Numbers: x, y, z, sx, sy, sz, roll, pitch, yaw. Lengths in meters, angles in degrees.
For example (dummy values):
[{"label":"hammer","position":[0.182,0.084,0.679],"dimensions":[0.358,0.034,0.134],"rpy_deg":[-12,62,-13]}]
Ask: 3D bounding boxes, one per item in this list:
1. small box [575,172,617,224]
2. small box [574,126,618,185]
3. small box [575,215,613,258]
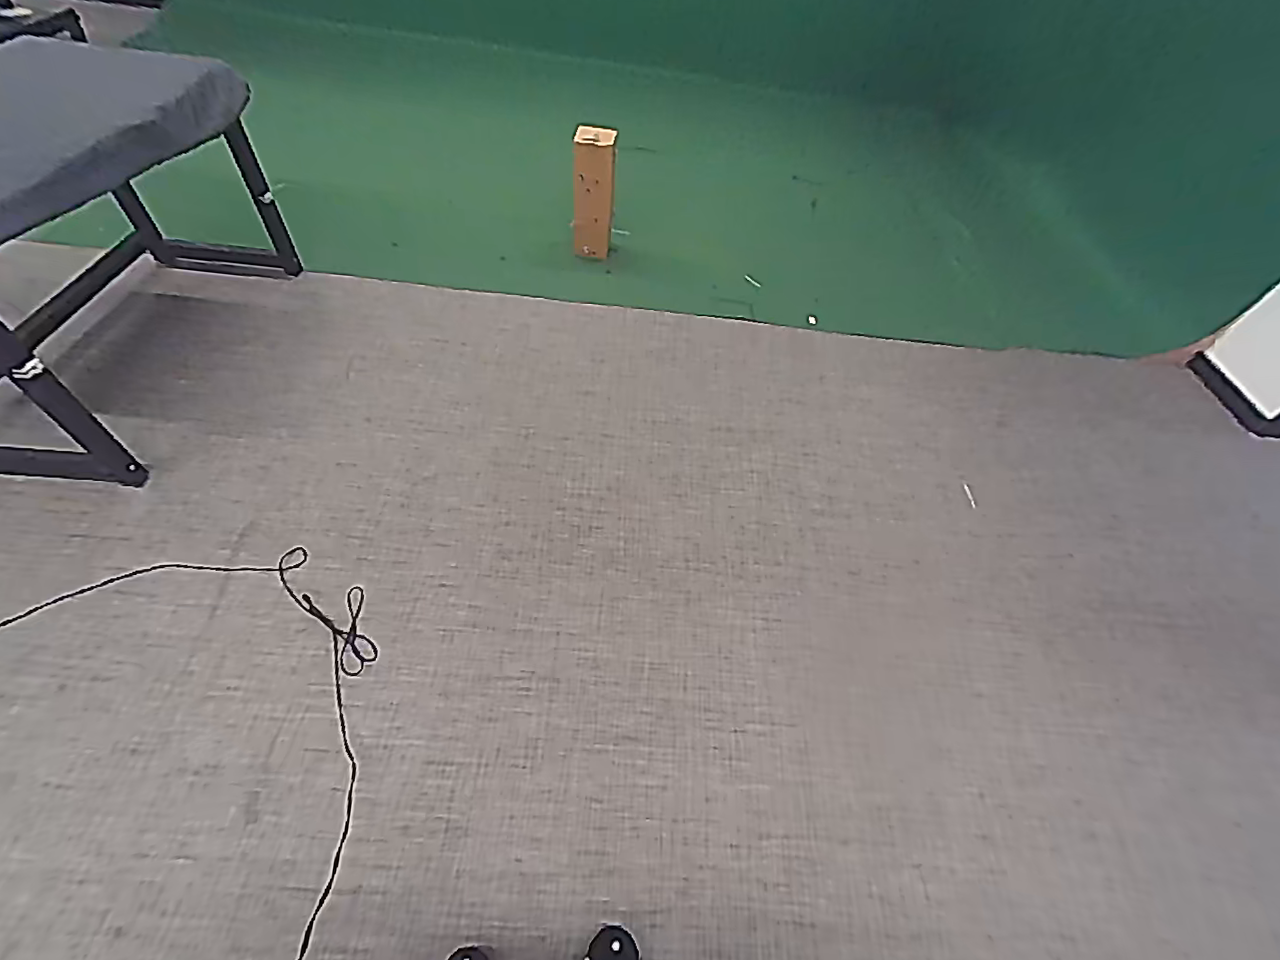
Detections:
[{"label":"small box","position":[-0.203,-1.303,2.476],"dimensions":[0.168,0.176,0.179],"rpy_deg":[7,51,-1]},{"label":"small box","position":[-0.191,-1.409,2.350],"dimensions":[0.168,0.176,0.179],"rpy_deg":[7,51,-1]},{"label":"small box","position":[-0.222,-1.200,2.602],"dimensions":[0.168,0.176,0.179],"rpy_deg":[6,53,-1]}]
